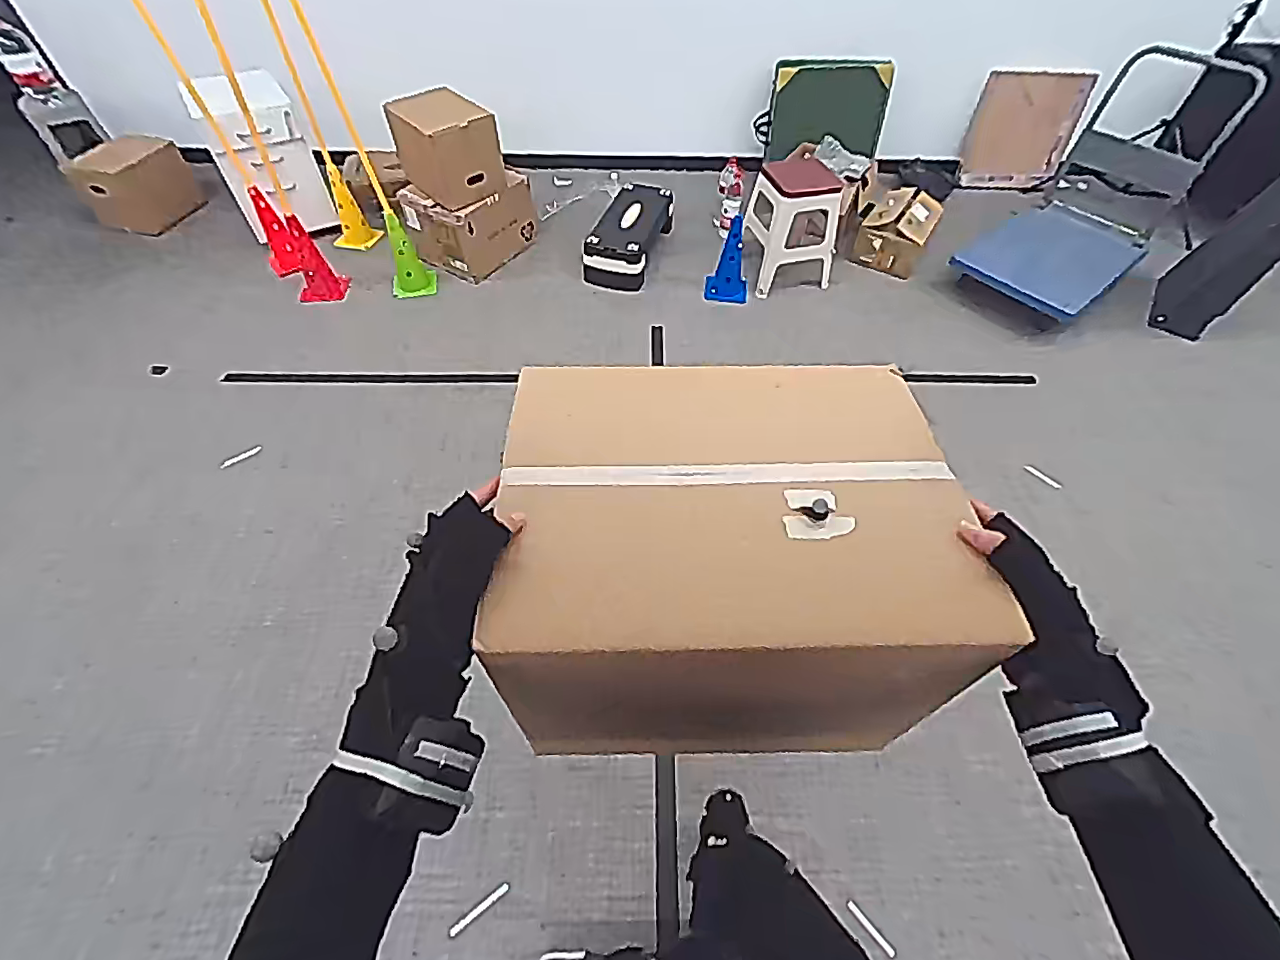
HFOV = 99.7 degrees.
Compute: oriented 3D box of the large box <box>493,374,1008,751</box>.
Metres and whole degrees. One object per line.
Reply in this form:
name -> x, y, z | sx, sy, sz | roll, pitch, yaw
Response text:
large box -> 0.077, 0.098, 0.614 | 0.408, 0.320, 0.320 | -1, 51, -2
